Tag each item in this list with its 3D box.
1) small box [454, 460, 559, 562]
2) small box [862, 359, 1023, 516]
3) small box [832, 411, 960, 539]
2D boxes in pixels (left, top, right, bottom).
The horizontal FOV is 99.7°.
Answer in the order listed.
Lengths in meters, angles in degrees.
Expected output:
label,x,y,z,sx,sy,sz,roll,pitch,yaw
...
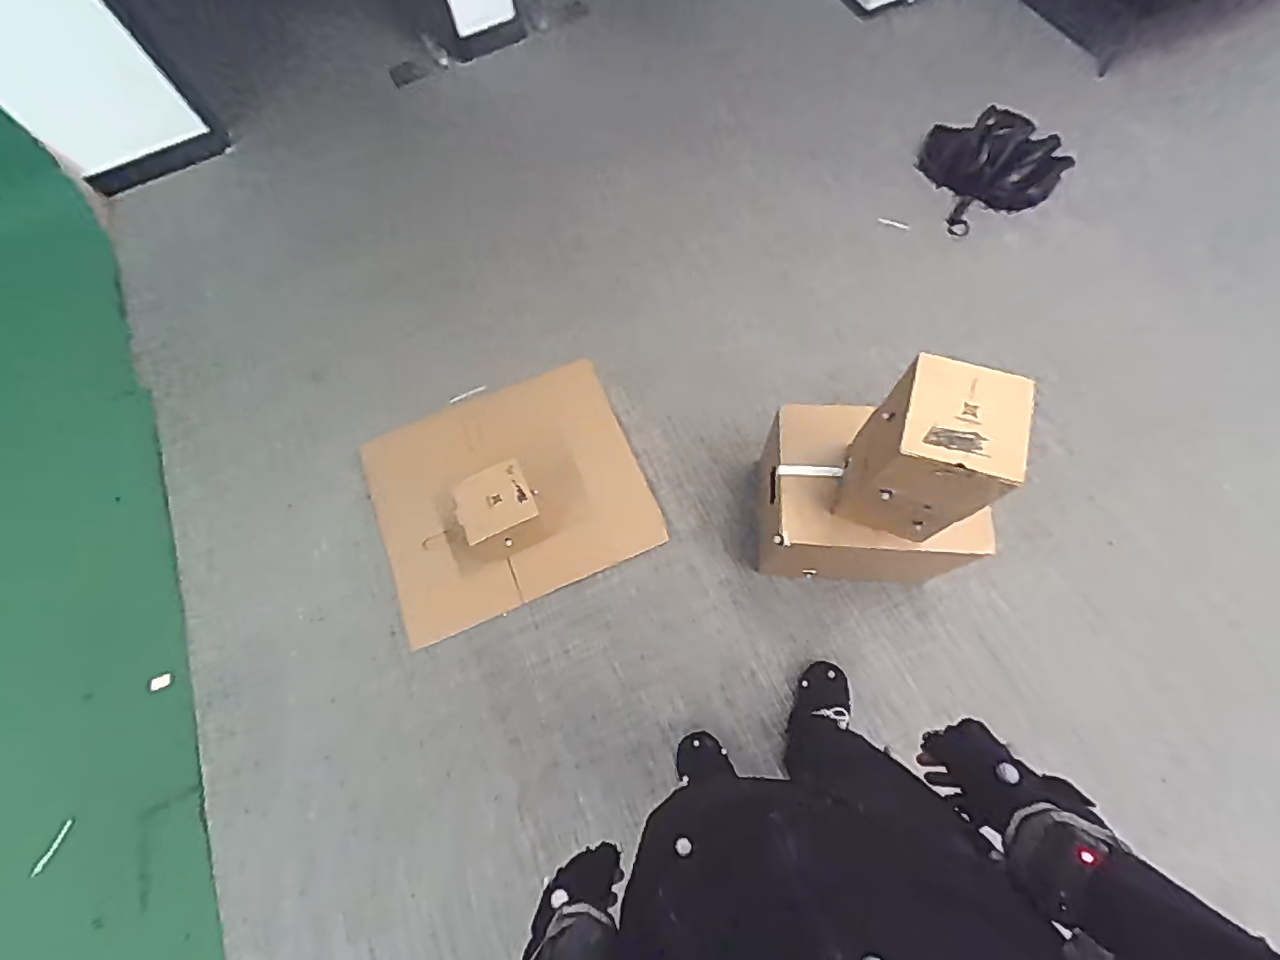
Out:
label,x,y,z,sx,sy,sz,roll,pitch,yaw
small box,-0.327,0.085,1.349,0.179,0.176,0.168,-28,67,-5
small box,0.463,-0.058,0.851,0.168,0.176,0.179,14,71,9
small box,0.478,-0.002,1.005,0.179,0.176,0.168,16,70,11
